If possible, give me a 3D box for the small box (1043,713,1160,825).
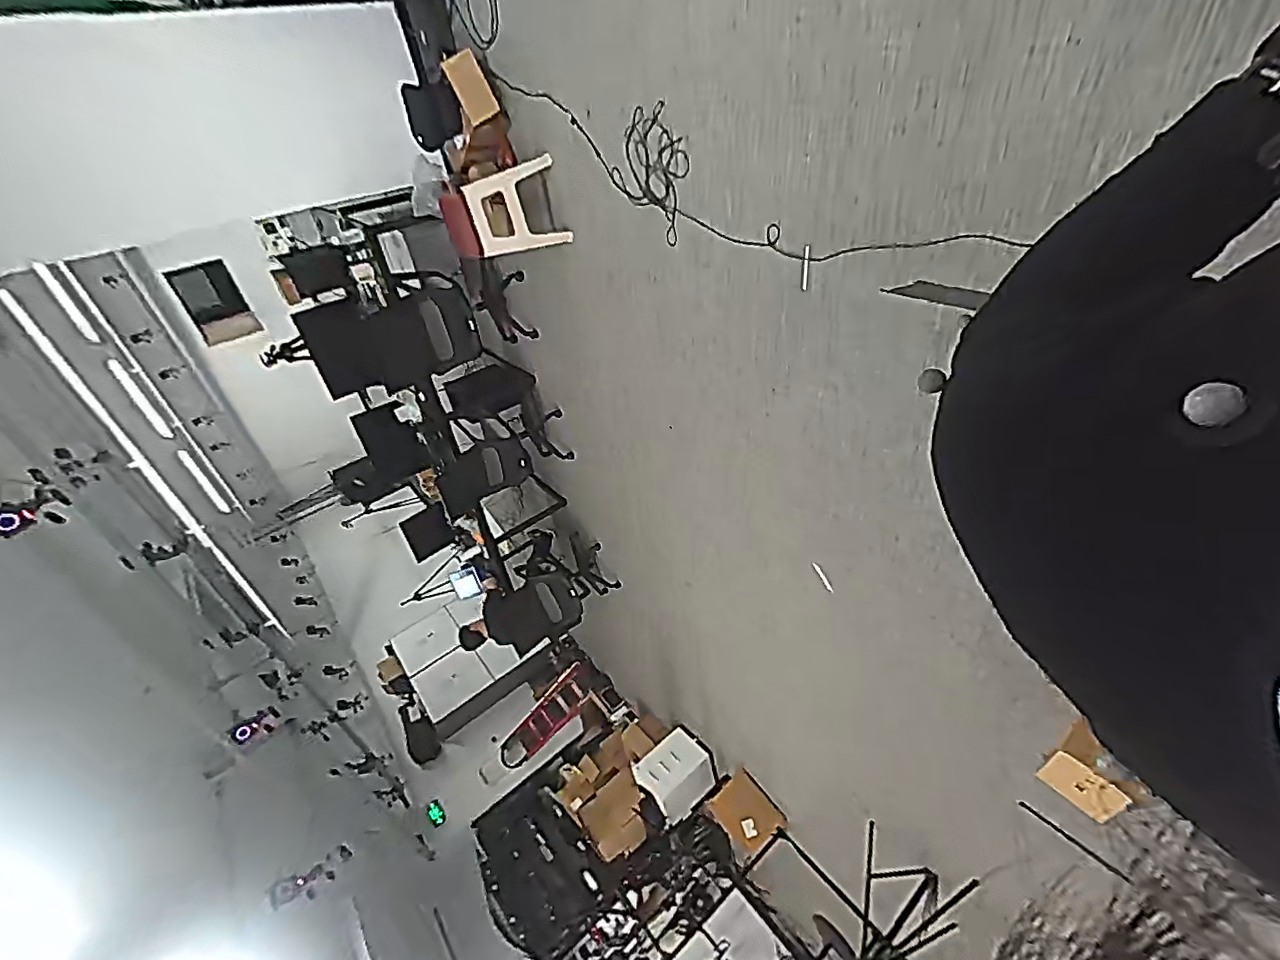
[{"bbox_3d":[1.243,0.774,1.456,0.168,0.176,0.179,35,145,38],"label":"small box"}]
